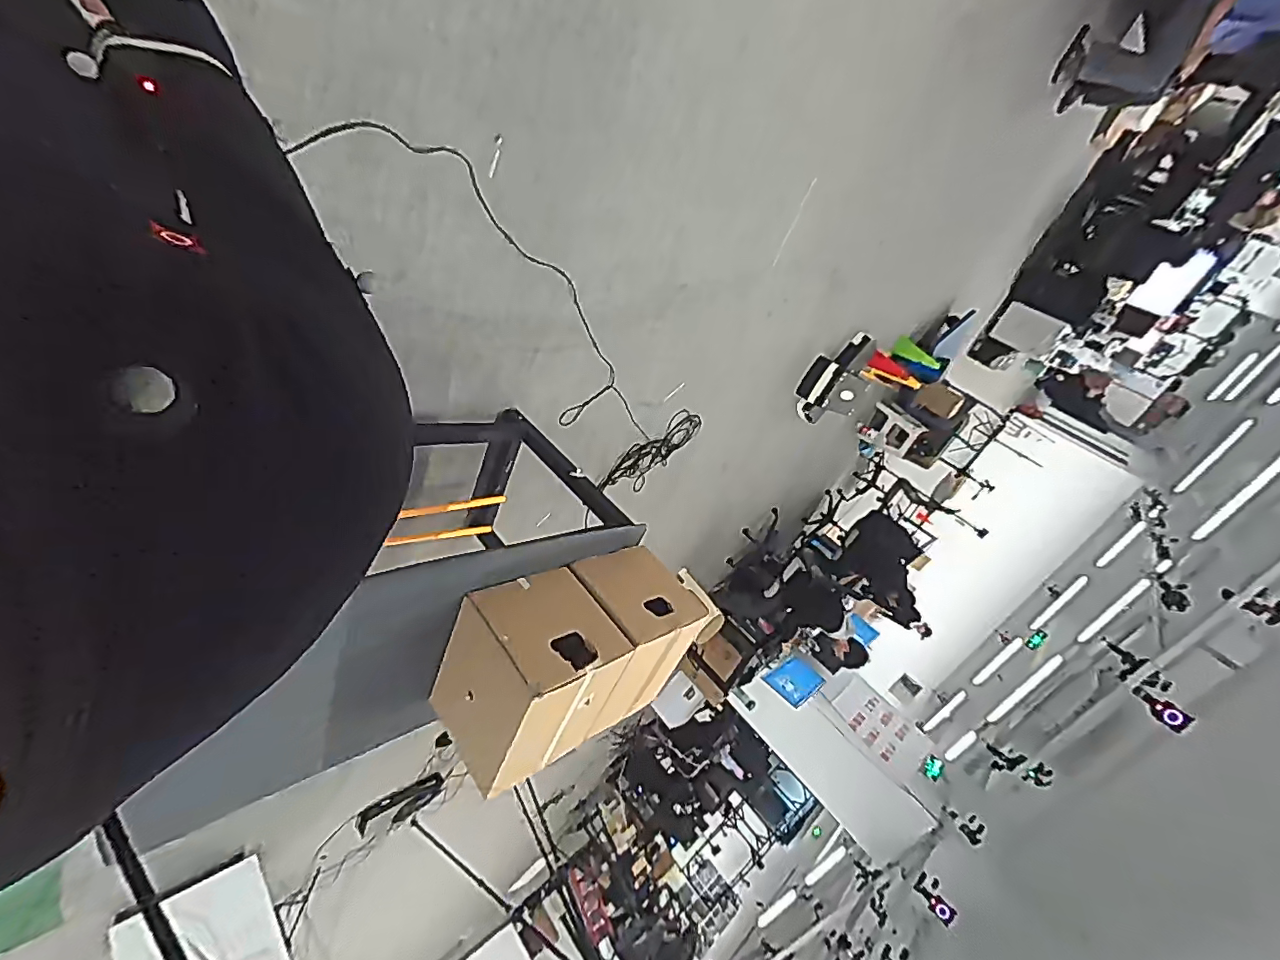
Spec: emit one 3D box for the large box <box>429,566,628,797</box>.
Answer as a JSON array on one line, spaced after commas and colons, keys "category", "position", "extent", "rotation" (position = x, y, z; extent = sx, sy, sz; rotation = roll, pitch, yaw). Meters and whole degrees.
[{"category": "large box", "position": [-0.296, 0.490, 1.369], "extent": [0.320, 0.320, 0.408], "rotation": [-10, 132, -48]}]
